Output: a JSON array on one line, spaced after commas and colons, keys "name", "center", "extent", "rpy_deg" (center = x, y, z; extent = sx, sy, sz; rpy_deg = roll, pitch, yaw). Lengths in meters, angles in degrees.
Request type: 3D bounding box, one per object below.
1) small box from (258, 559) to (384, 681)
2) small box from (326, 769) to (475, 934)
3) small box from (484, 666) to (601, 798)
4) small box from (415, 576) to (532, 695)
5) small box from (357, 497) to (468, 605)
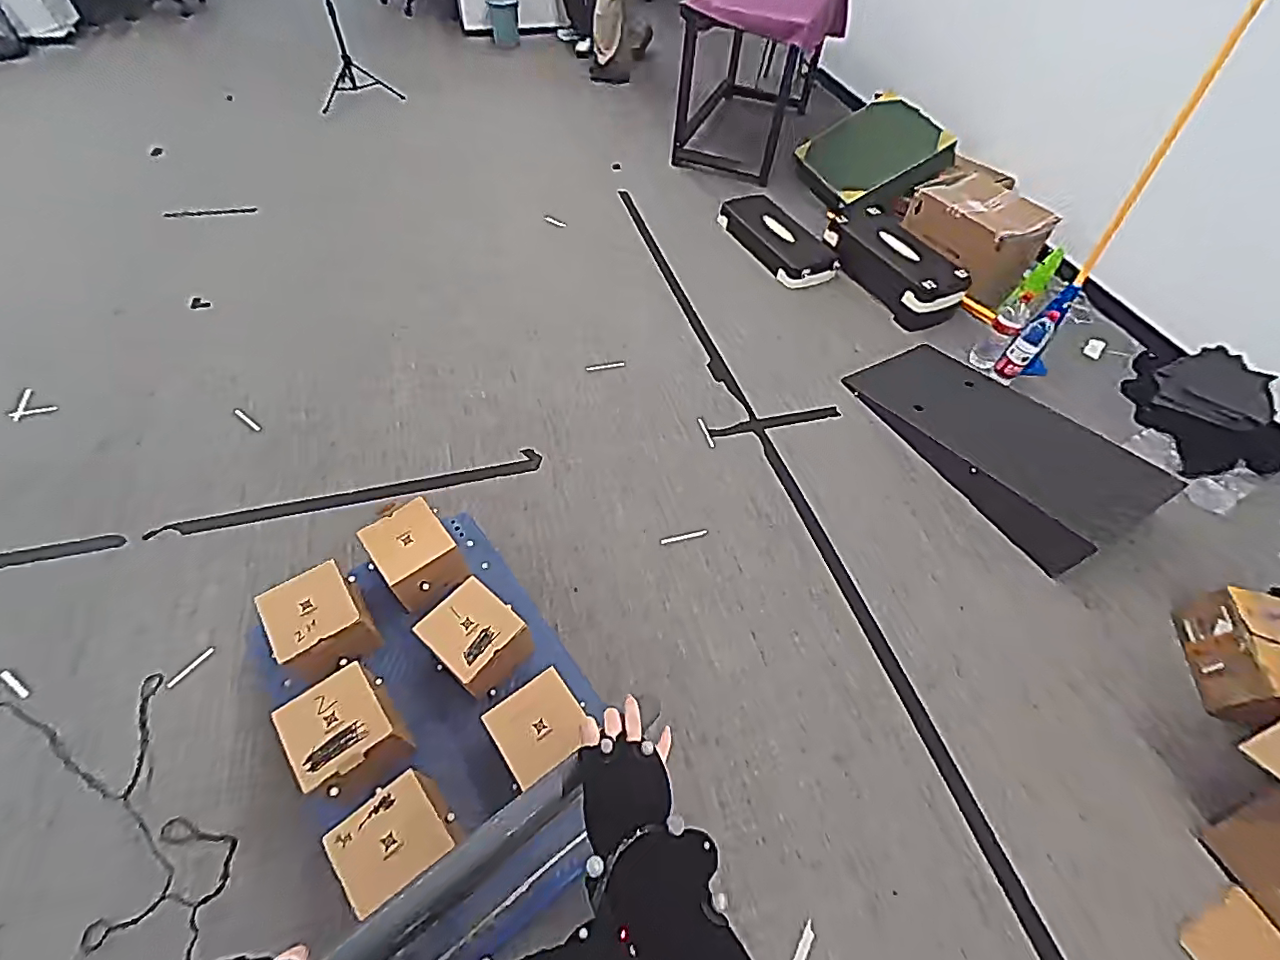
[{"name": "small box", "center": [-0.701, 0.315, 1.203], "extent": [0.168, 0.176, 0.179], "rpy_deg": [-30, 63, -23]}, {"name": "small box", "center": [-0.421, 0.663, 0.979], "extent": [0.168, 0.176, 0.179], "rpy_deg": [-34, 64, -26]}, {"name": "small box", "center": [-0.191, 0.519, 1.102], "extent": [0.168, 0.176, 0.179], "rpy_deg": [-31, 61, -24]}, {"name": "small box", "center": [-0.361, 0.353, 1.205], "extent": [0.179, 0.176, 0.168], "rpy_deg": [35, 59, 20]}, {"name": "small box", "center": [-0.543, 0.182, 1.313], "extent": [0.168, 0.176, 0.179], "rpy_deg": [-34, 64, -25]}]
